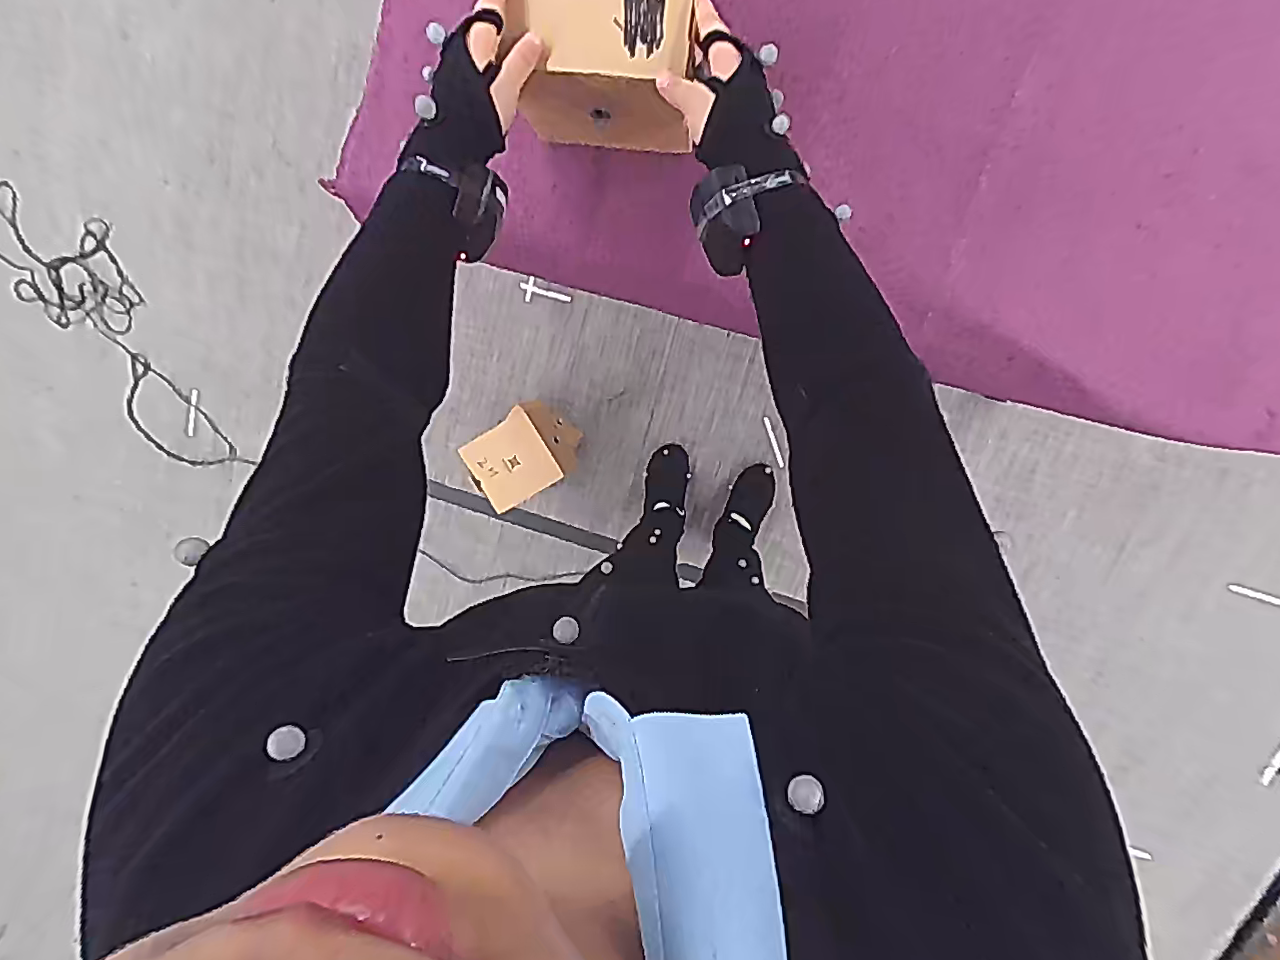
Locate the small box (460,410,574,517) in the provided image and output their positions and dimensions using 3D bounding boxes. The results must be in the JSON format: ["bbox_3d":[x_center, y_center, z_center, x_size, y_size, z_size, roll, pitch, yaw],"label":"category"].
[{"bbox_3d":[-0.263,-0.045,1.219,0.179,0.176,0.168,-29,97,10],"label":"small box"}]

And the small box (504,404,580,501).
[{"bbox_3d":[-0.273,-0.076,1.383,0.168,0.176,0.179,38,102,-3],"label":"small box"}]
